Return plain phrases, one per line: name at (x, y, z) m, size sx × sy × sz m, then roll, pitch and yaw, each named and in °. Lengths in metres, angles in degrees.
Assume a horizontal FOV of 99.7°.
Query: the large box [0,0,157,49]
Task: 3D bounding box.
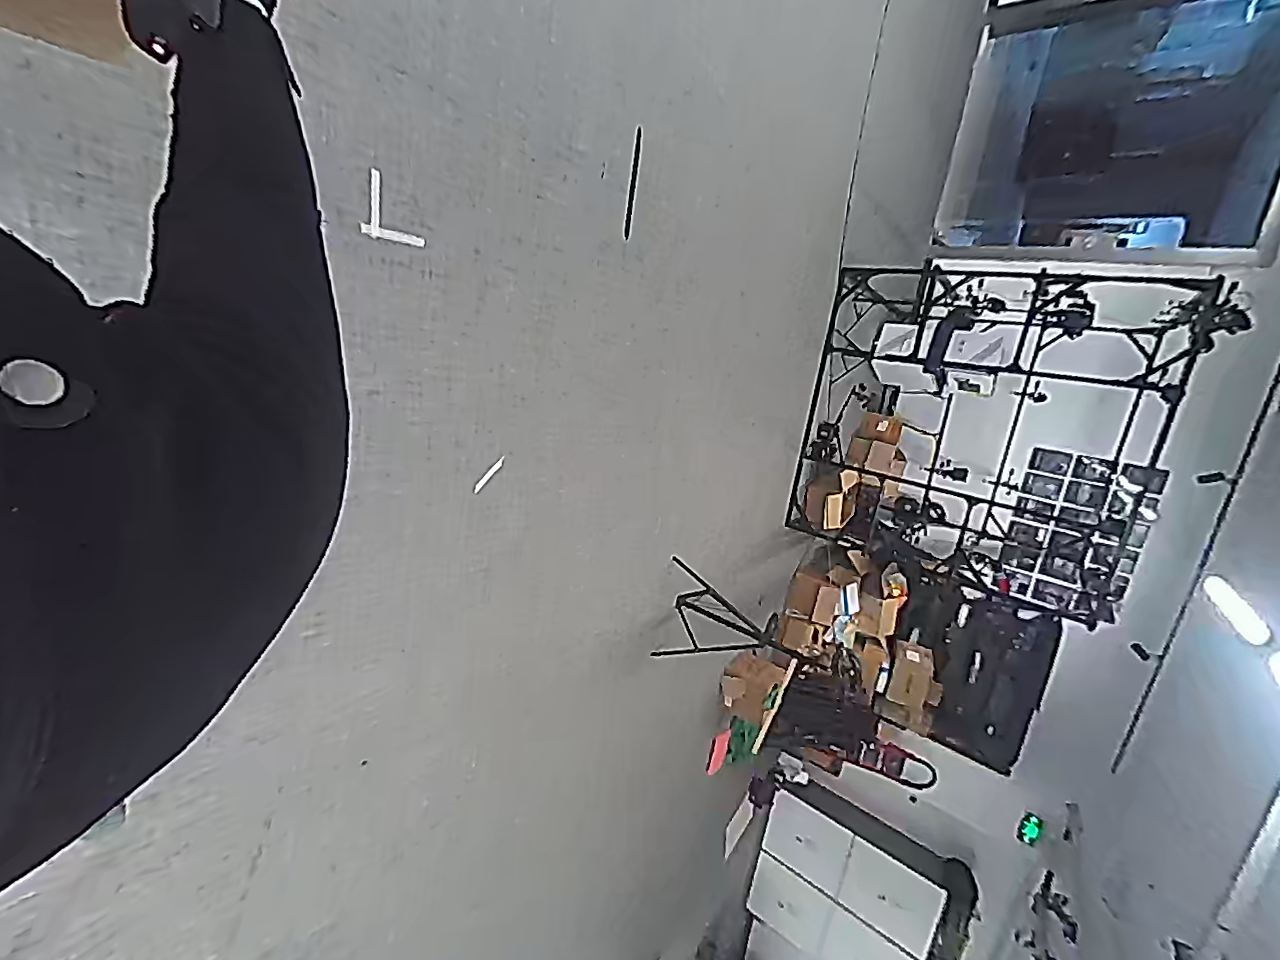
large box at (-0.559, -0.529, 0.297) m, size 0.408 × 0.320 × 0.320 m, roll -10°, pitch 117°, yaw -50°
